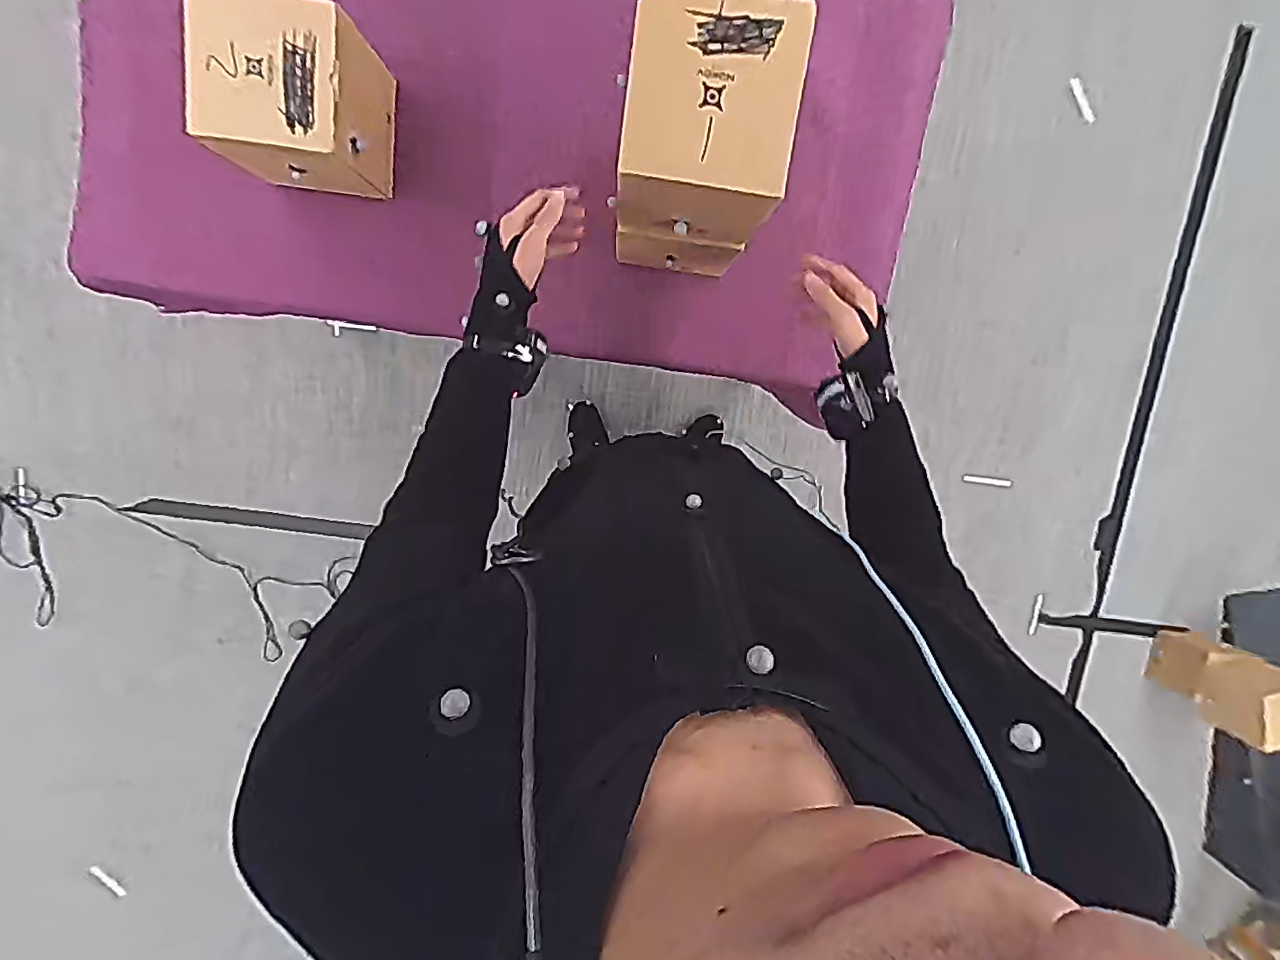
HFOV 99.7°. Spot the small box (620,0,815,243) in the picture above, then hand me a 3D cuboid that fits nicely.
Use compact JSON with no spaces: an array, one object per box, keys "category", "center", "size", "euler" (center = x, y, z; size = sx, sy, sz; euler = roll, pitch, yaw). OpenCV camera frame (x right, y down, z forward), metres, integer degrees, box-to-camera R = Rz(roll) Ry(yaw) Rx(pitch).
[{"category":"small box","center":[0.069,-0.383,0.591],"size":[0.168,0.176,0.179],"euler":[8,100,-3]}]

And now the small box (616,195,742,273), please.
[{"category":"small box","center":[0.060,-0.401,0.755],"size":[0.168,0.176,0.179],"euler":[7,99,-4]}]
